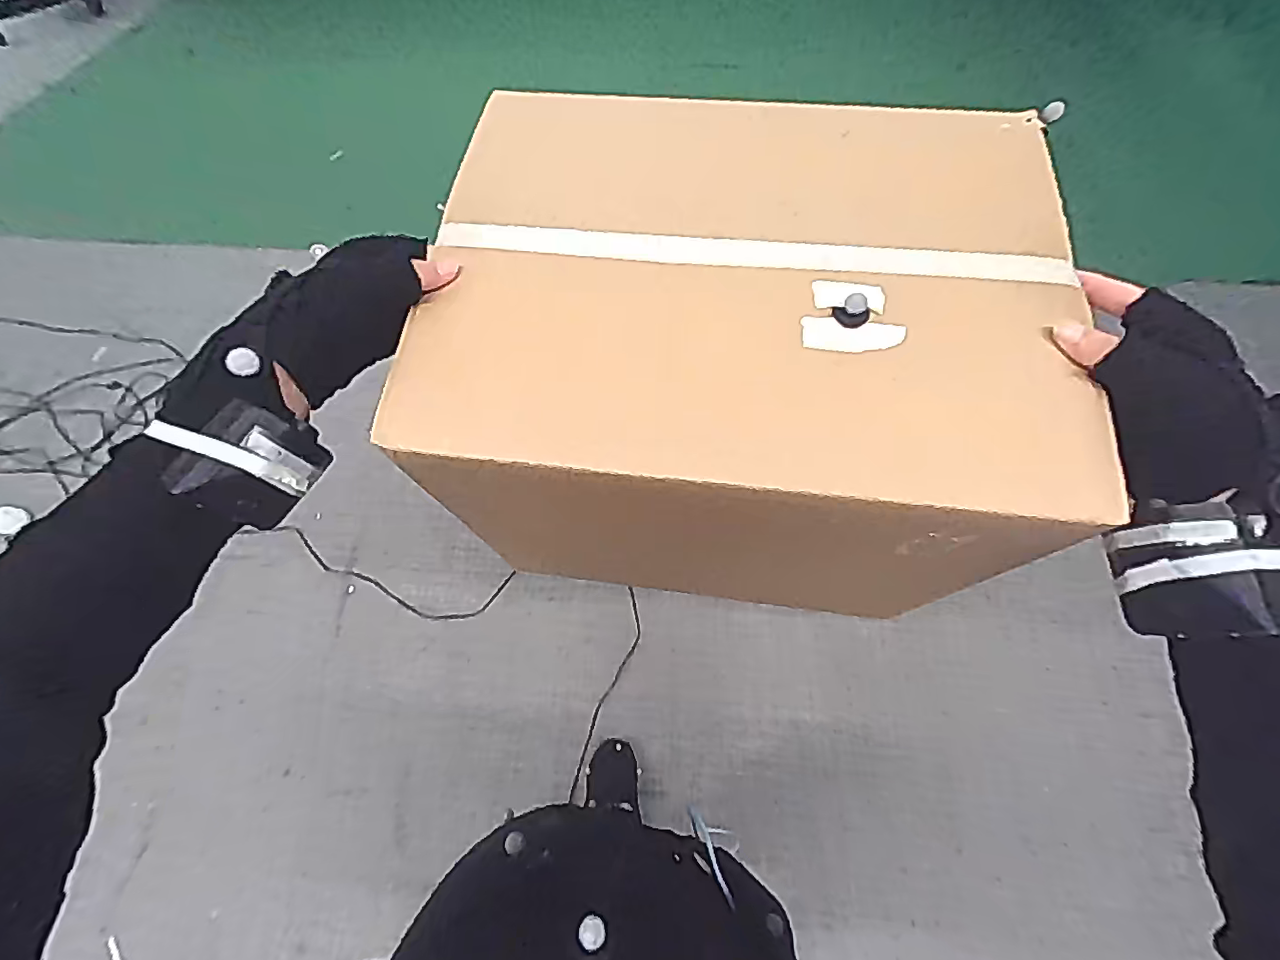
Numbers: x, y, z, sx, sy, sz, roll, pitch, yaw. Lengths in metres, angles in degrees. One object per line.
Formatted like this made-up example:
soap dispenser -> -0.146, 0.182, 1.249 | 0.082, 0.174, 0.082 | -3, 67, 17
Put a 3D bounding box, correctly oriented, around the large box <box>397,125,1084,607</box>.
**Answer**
large box -> 0.069, -0.079, 0.505 | 0.408, 0.320, 0.320 | 5, 68, 5
